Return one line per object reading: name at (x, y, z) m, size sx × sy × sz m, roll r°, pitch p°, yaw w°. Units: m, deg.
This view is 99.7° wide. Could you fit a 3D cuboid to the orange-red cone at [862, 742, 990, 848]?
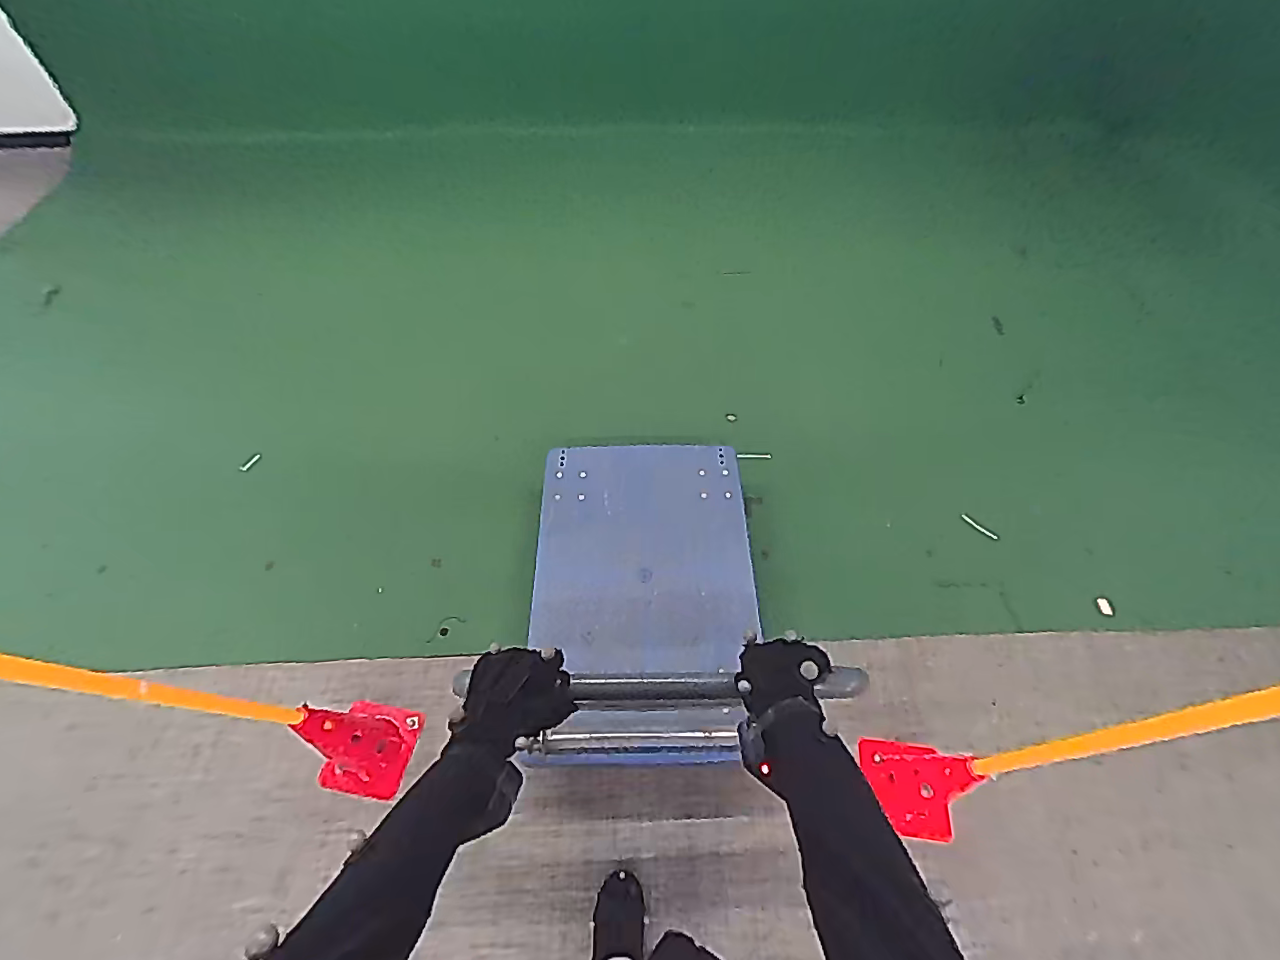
orange-red cone at (0.628, 0.640, 1.135) m, size 0.198 × 0.360 × 0.199 m, roll 7°, pitch 55°, yaw 5°
